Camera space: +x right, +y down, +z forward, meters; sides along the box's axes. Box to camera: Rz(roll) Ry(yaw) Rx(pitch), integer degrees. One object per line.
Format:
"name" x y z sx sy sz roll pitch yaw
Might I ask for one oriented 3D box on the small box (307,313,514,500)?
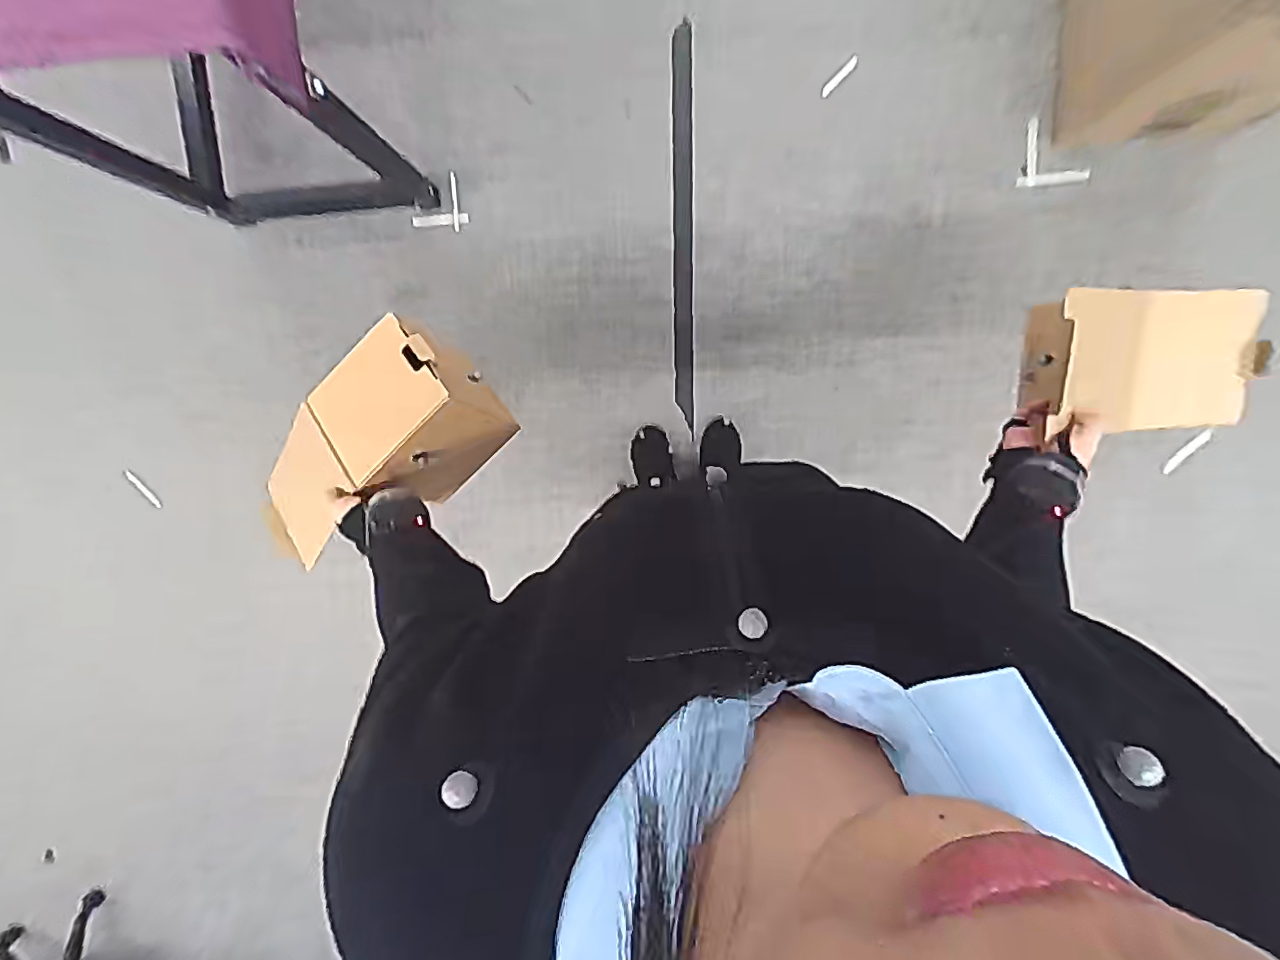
"small box" -0.314 -0.090 0.765 0.179 0.176 0.168 -43 71 7
